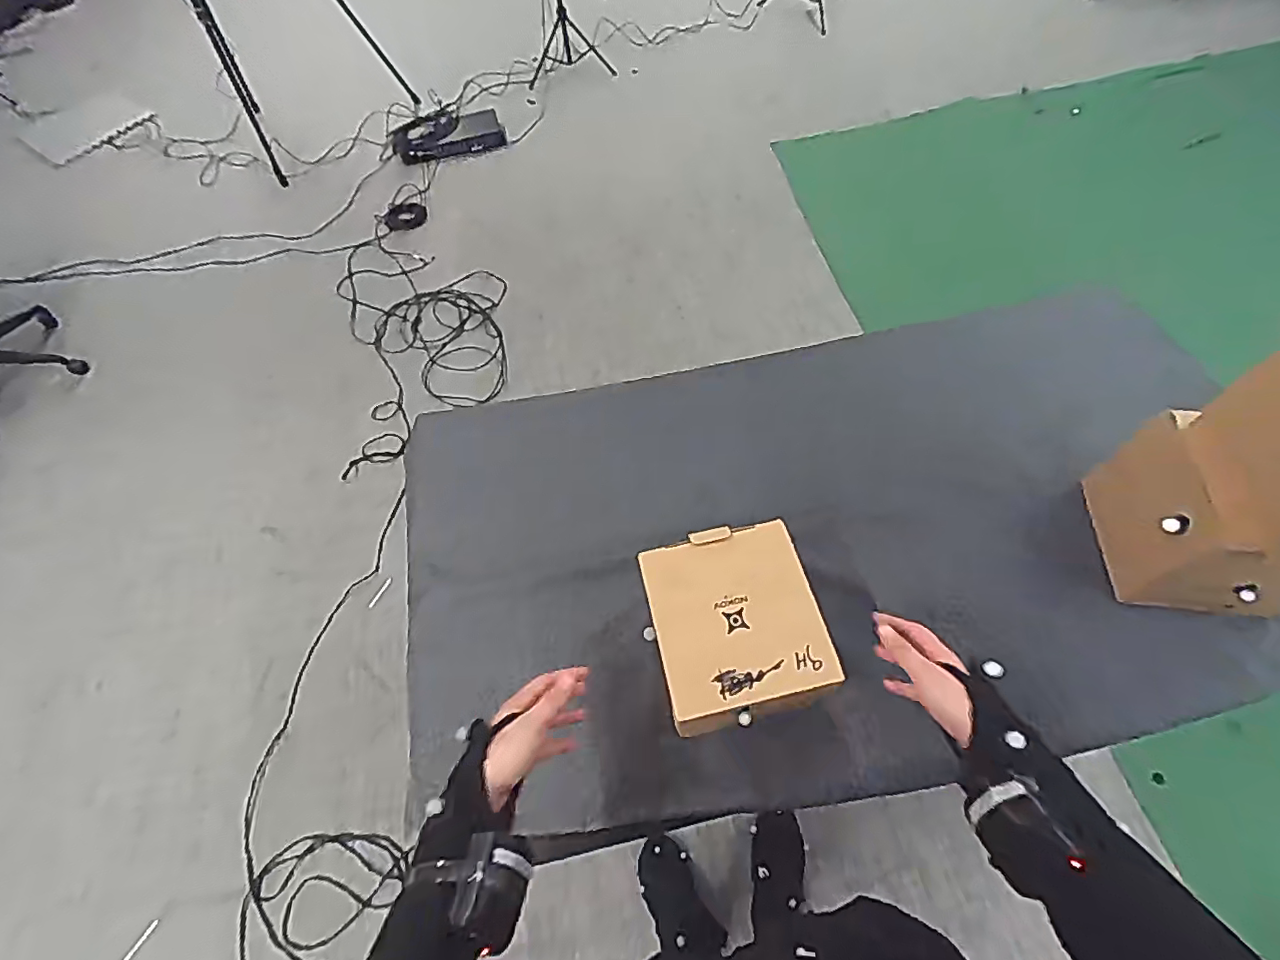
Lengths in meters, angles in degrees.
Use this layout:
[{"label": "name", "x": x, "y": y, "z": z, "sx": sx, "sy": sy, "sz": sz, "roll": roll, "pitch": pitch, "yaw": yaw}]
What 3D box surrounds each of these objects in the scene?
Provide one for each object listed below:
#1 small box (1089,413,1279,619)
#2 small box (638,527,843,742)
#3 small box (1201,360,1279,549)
[{"label": "small box", "x": 0.665, "y": 0.046, "z": 0.612, "sx": 0.168, "sy": 0.176, "sz": 0.179, "roll": 5, "pitch": 60, "yaw": 8}, {"label": "small box", "x": 0.098, "y": 0.179, "z": 0.607, "sx": 0.168, "sy": 0.176, "sz": 0.179, "roll": -14, "pitch": 61, "yaw": -1}, {"label": "small box", "x": 0.670, "y": -0.028, "z": 0.467, "sx": 0.168, "sy": 0.176, "sz": 0.179, "roll": 1, "pitch": 59, "yaw": 5}]
